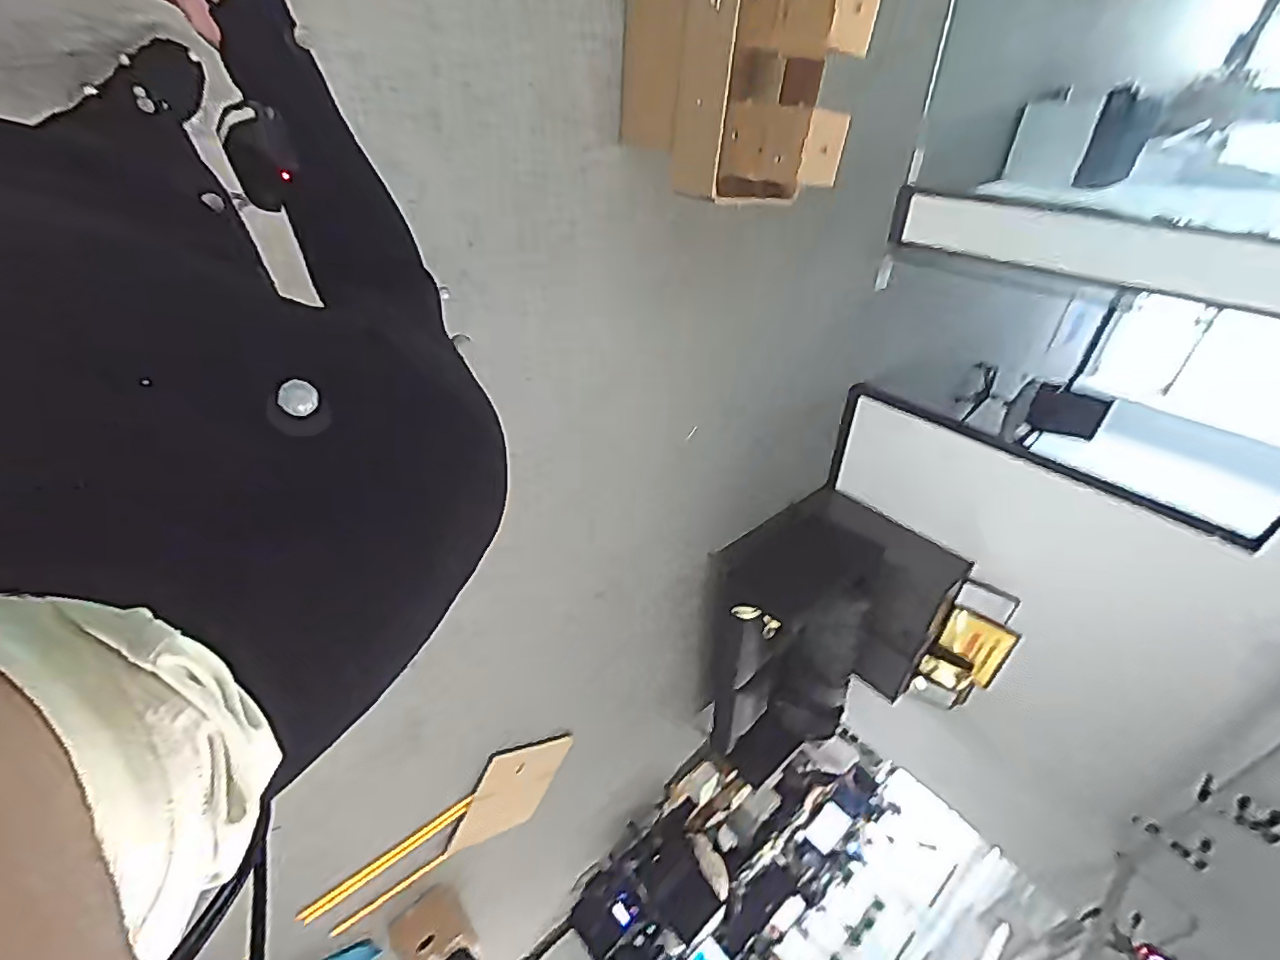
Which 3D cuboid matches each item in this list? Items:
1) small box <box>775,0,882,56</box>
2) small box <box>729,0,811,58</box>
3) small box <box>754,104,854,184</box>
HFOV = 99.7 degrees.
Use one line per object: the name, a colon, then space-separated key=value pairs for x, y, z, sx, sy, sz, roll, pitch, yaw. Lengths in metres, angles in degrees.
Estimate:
small box: x=0.458 y=-1.140 z=1.299 sx=0.179 sy=0.176 sz=0.168 roll=-19 pitch=131 yaw=-36
small box: x=0.351 y=-1.218 z=1.396 sx=0.168 sy=0.176 sz=0.179 roll=-18 pitch=130 yaw=-37
small box: x=0.432 y=-0.899 z=1.447 sx=0.179 sy=0.176 sz=0.168 roll=-21 pitch=132 yaw=-37
